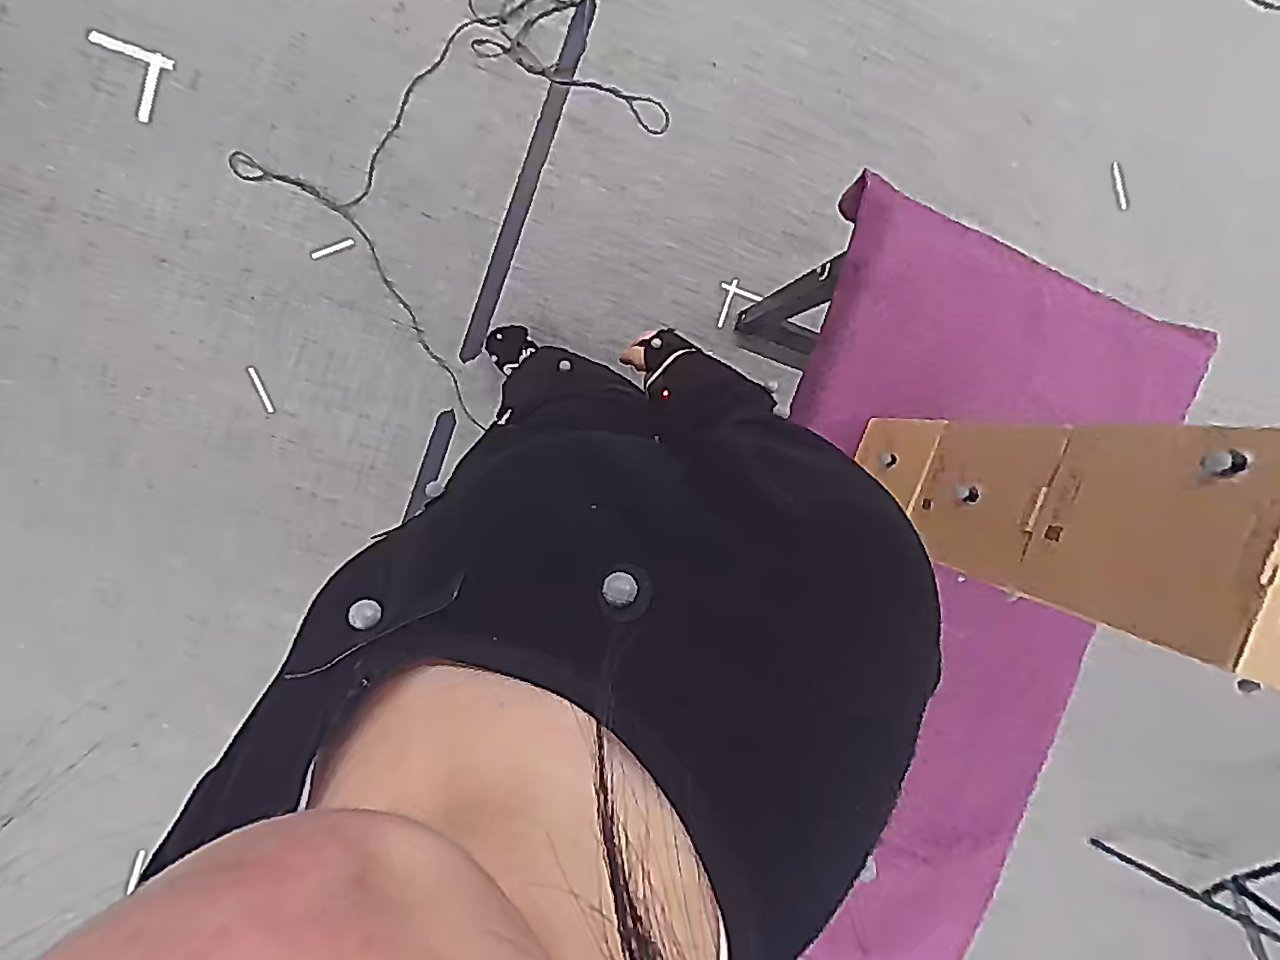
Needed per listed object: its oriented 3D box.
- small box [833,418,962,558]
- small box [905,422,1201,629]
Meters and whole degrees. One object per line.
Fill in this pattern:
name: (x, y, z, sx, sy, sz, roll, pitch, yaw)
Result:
small box: (0.407, 0.020, 0.764, 0.179, 0.176, 0.168, 20, 94, -11)
small box: (0.438, 0.040, 0.605, 0.179, 0.176, 0.168, 18, 94, -11)
